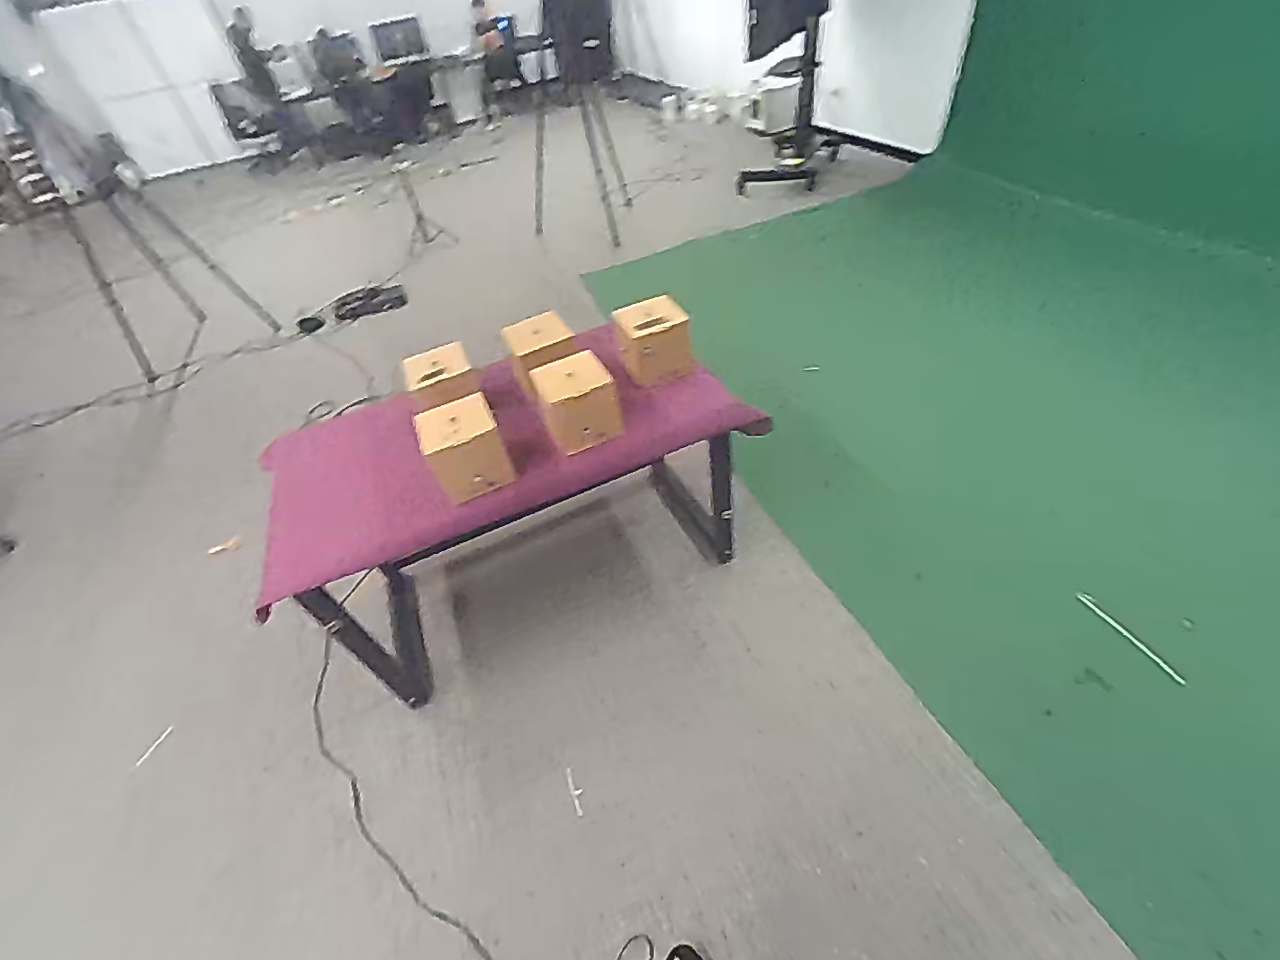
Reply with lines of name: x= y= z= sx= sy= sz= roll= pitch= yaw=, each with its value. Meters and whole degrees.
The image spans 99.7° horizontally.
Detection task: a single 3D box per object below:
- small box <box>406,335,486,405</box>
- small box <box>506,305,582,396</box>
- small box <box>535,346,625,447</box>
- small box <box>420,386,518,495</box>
small box: x=-0.528 y=-0.271 z=1.508 sx=0.168 sy=0.176 sz=0.179 roll=-22 pitch=46 yaw=-12
small box: x=-0.268 y=-0.374 z=1.565 sx=0.168 sy=0.176 sz=0.179 roll=-24 pitch=48 yaw=-12
small box: x=-0.152 y=-0.214 z=1.390 sx=0.168 sy=0.176 sz=0.179 roll=-22 pitch=47 yaw=-12
small box: x=-0.413 y=-0.095 z=1.315 sx=0.168 sy=0.176 sz=0.179 roll=-23 pitch=46 yaw=-12
